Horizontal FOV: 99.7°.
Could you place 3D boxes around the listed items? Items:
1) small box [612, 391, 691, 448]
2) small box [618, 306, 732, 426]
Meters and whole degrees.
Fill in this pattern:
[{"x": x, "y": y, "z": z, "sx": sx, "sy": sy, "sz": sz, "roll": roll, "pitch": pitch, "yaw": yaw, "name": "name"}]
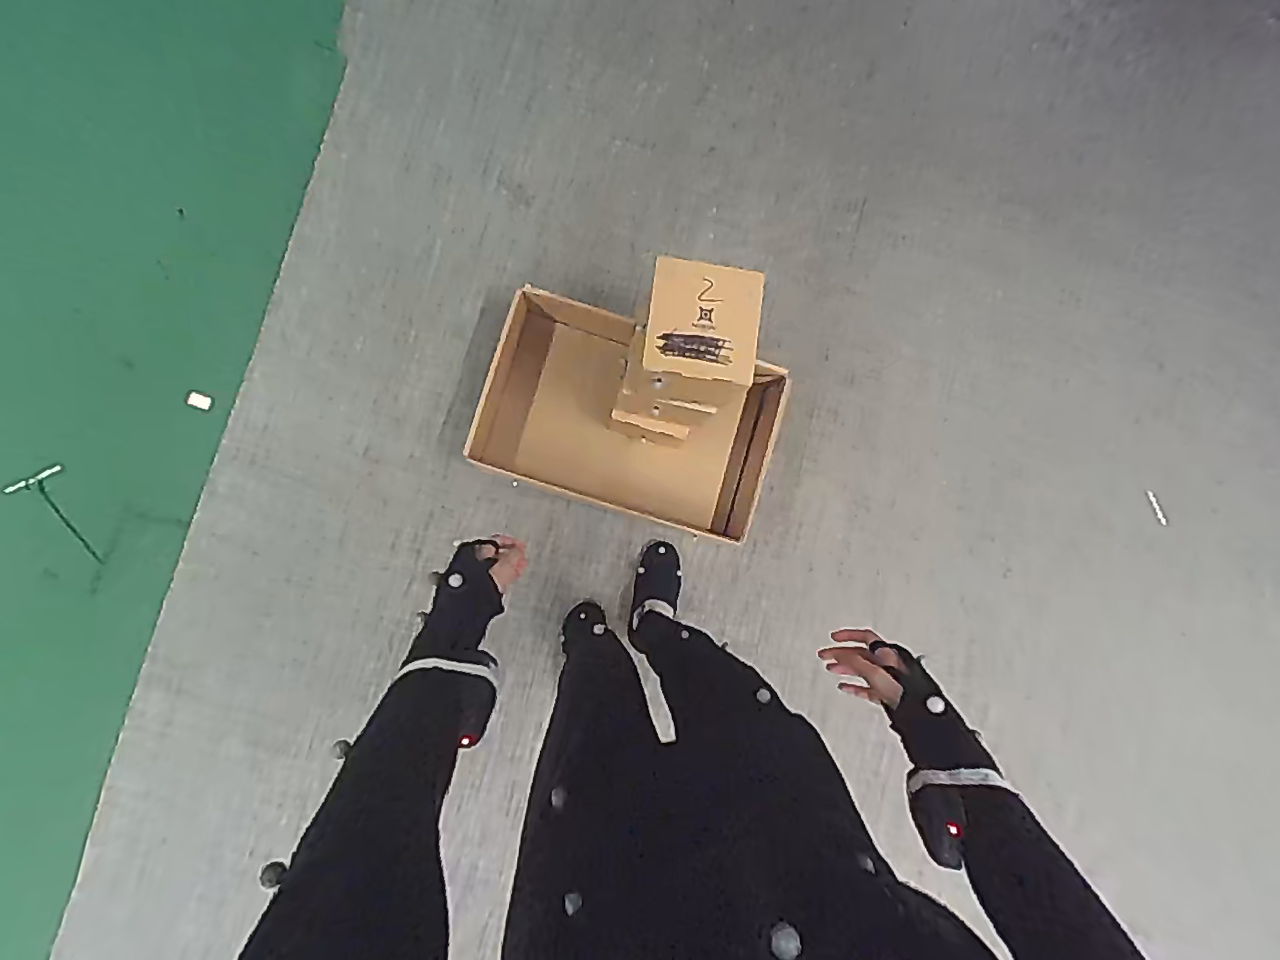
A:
[{"x": 0.039, "y": -0.182, "z": 1.192, "sx": 0.168, "sy": 0.176, "sz": 0.179, "roll": 17, "pitch": 87, "yaw": -1, "name": "small box"}, {"x": 0.061, "y": -0.207, "z": 1.030, "sx": 0.179, "sy": 0.176, "sz": 0.168, "roll": 12, "pitch": 86, "yaw": -1, "name": "small box"}]
